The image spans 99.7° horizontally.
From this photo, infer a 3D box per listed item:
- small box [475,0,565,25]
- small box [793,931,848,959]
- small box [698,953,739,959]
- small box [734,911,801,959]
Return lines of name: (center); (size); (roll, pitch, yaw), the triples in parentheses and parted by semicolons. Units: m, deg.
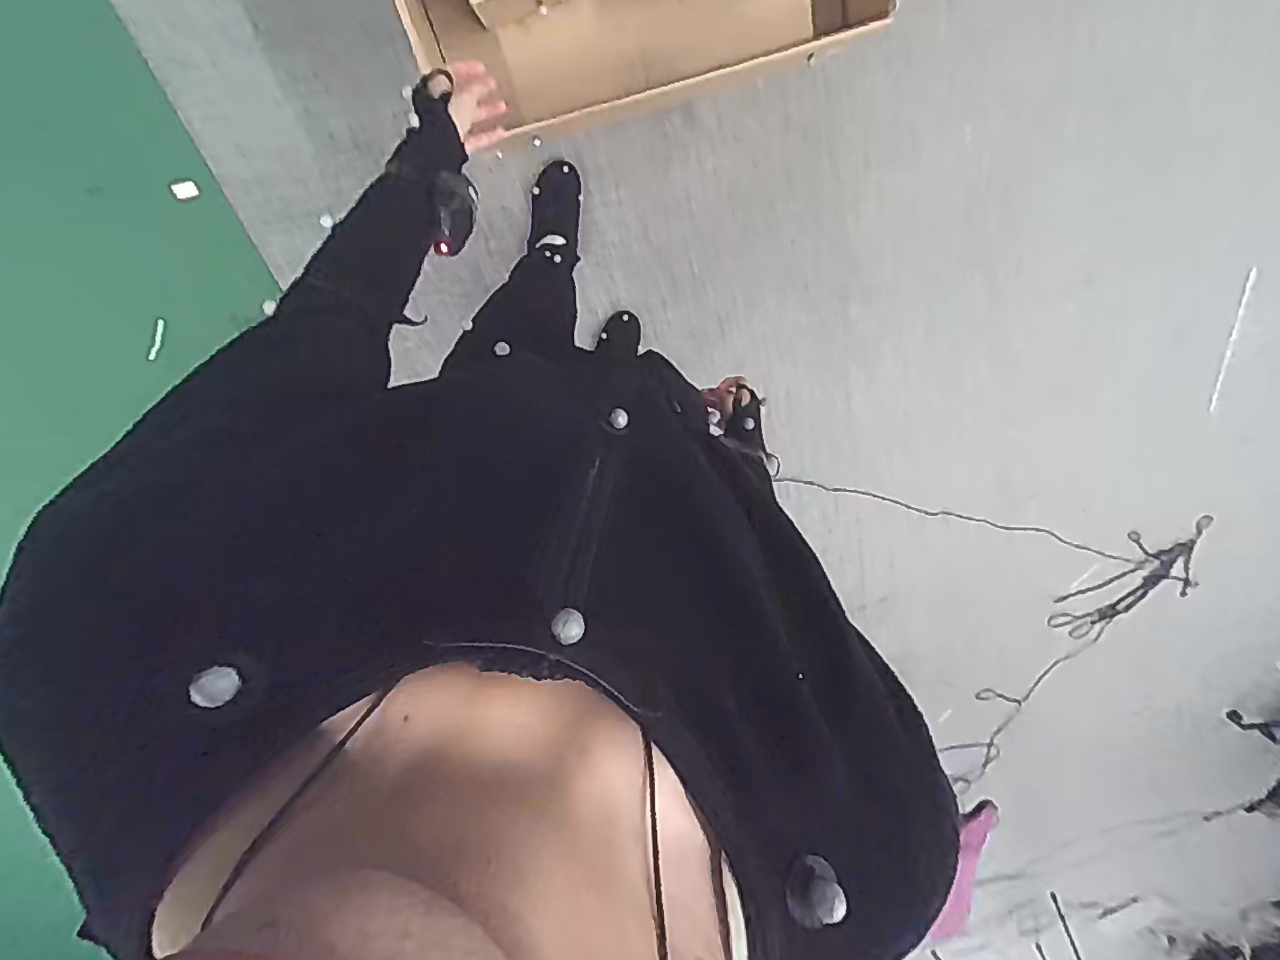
small box: (-0.153, -0.686, 0.639); (0.168, 0.176, 0.179); (-18, 122, 4)
small box: (0.575, 1.575, 1.727); (0.168, 0.176, 0.179); (-7, 121, -2)
small box: (0.260, 1.659, 1.735); (0.168, 0.176, 0.179); (-17, 123, 3)
small box: (0.387, 1.417, 1.606); (0.168, 0.176, 0.179); (-15, 122, 2)
